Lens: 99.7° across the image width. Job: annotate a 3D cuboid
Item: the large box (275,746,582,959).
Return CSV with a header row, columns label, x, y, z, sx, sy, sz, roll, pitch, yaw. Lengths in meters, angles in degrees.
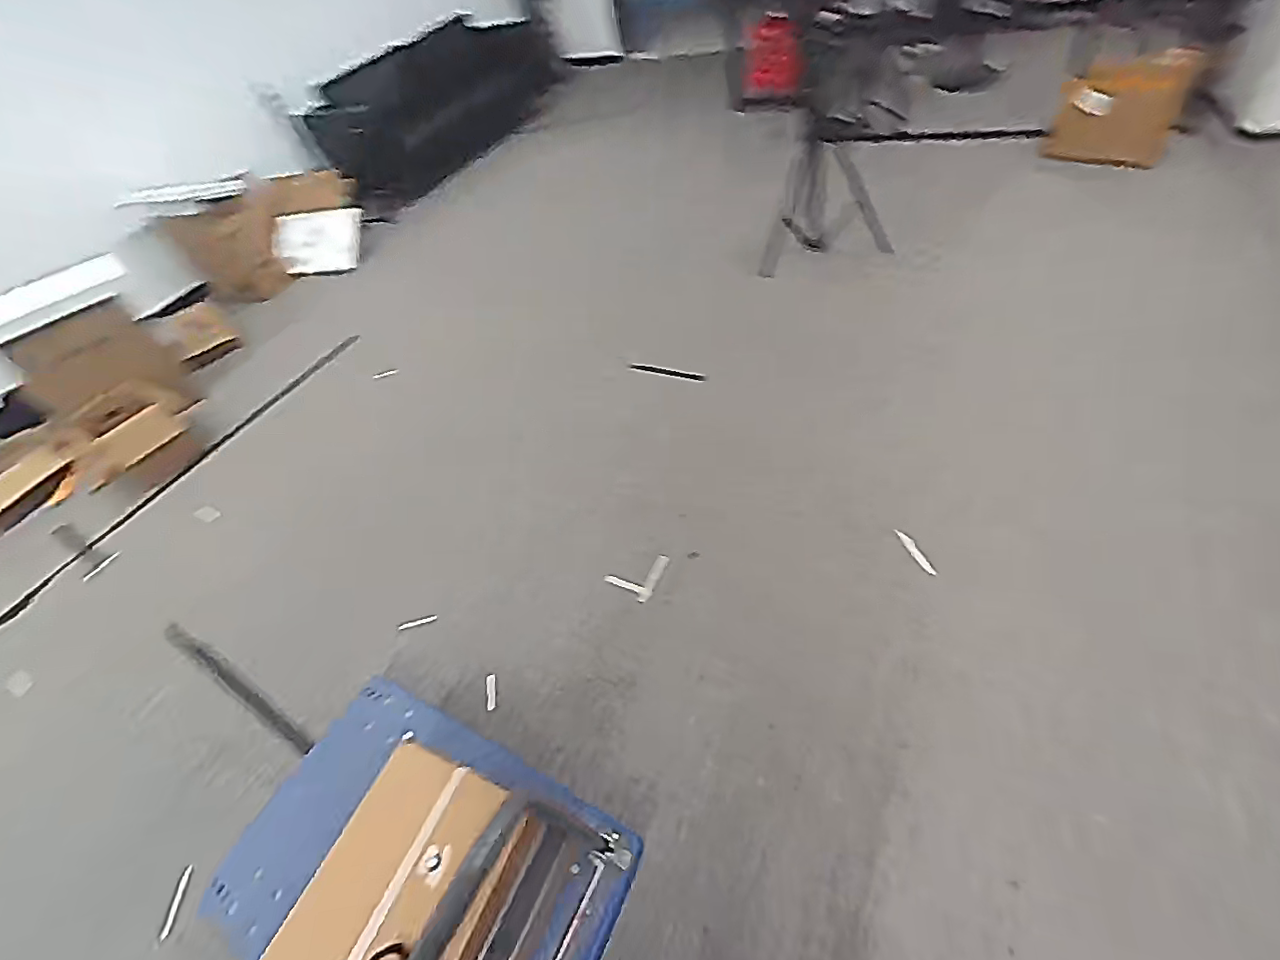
label,x,y,z,sx,sy,sz,roll,pitch,yaw
large box,-0.360,0.788,0.988,0.320,0.320,0.408,13,53,24
